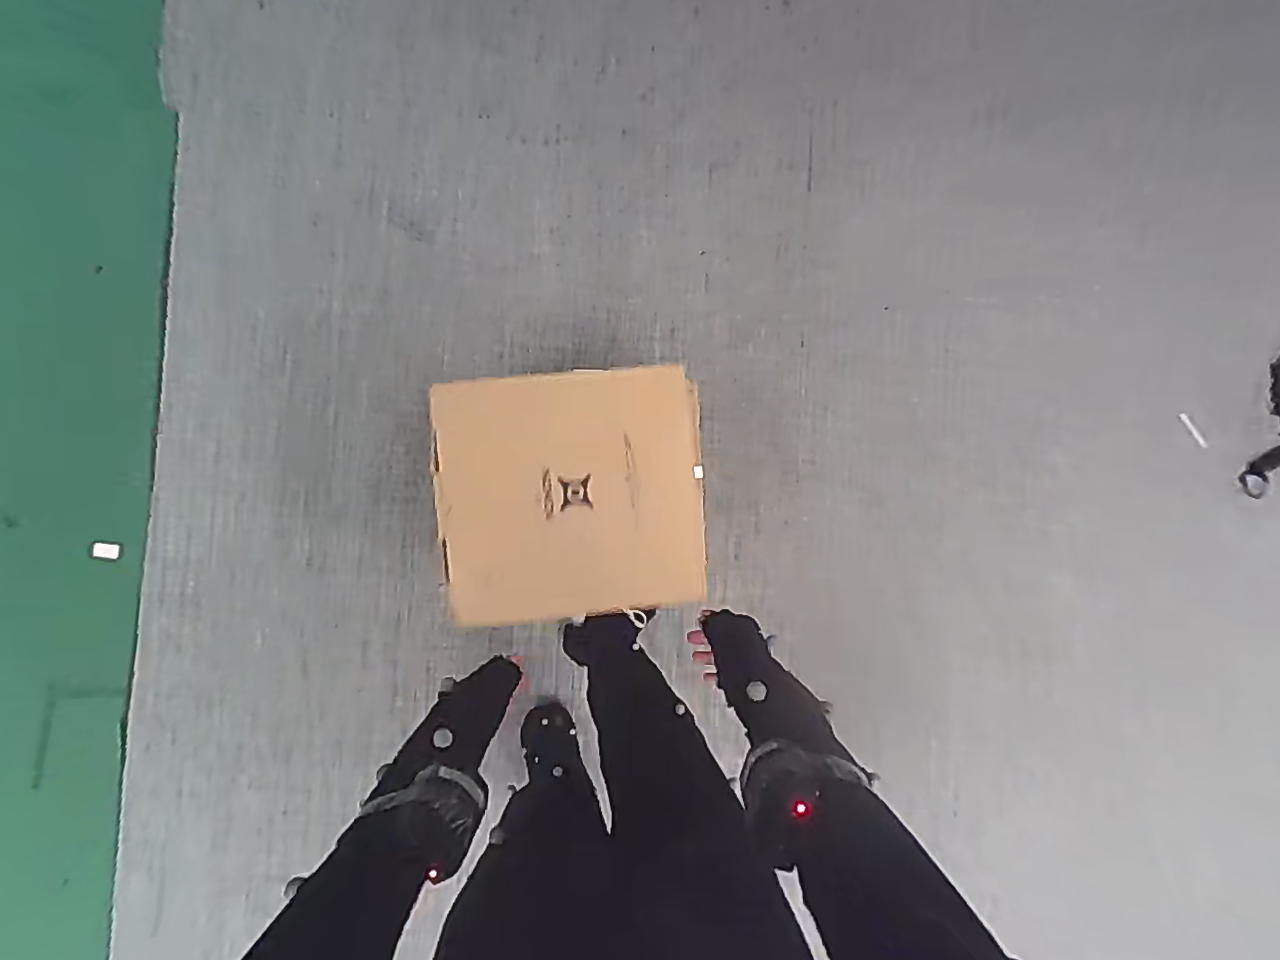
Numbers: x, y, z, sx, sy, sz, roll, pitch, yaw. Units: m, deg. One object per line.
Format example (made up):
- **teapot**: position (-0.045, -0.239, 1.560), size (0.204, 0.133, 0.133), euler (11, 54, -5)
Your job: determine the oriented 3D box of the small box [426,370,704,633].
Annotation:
- **small box**: position (-0.056, 0.016, 0.444), size (0.179, 0.176, 0.168), euler (-6, 89, -6)
